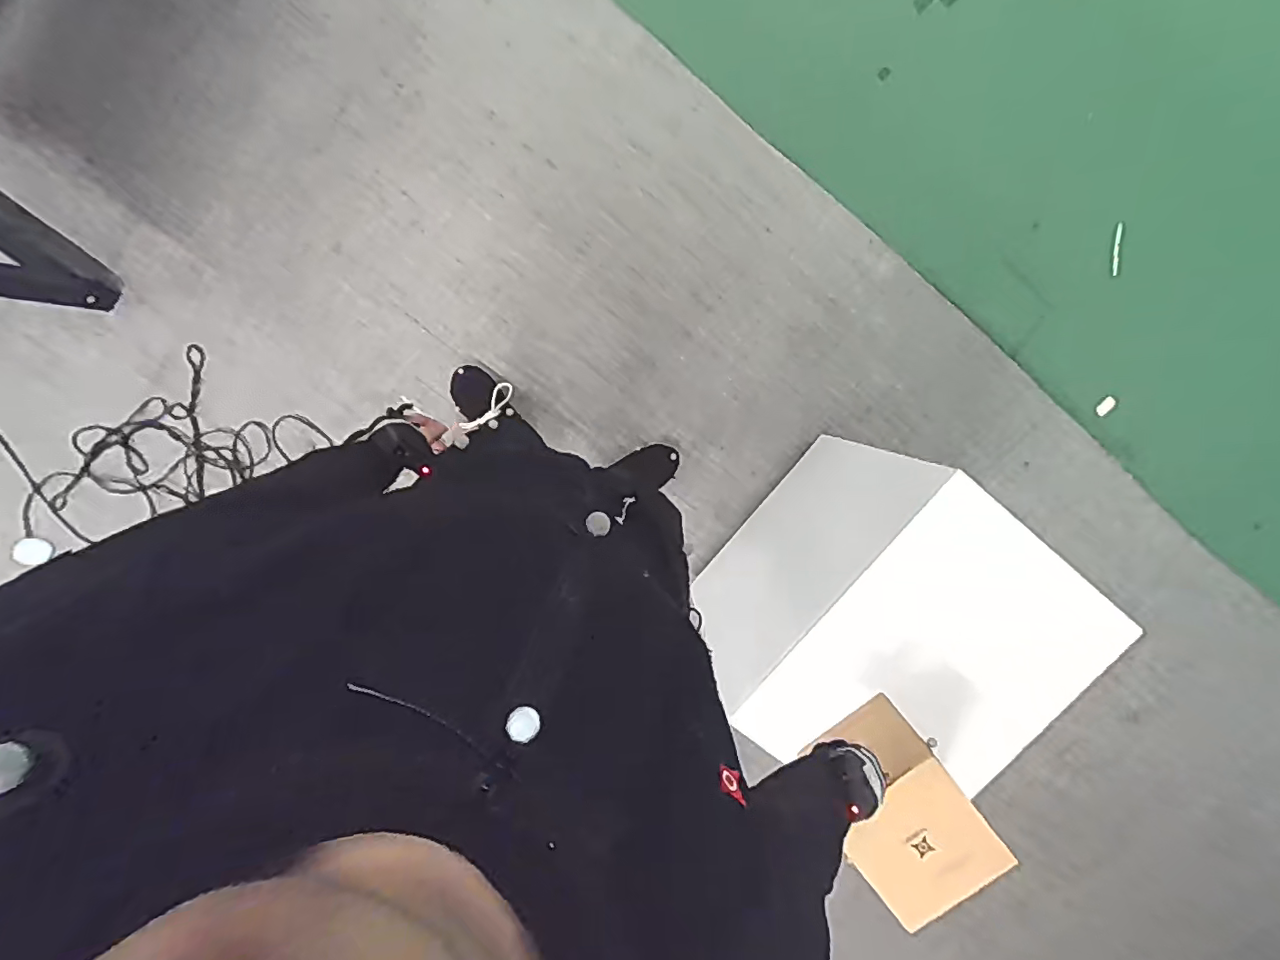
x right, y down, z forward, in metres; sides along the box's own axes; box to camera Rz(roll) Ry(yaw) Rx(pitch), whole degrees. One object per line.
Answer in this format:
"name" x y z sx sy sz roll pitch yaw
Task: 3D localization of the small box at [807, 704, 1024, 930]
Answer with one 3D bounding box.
"small box" 0.359 0.440 0.744 0.168 0.176 0.179 -40 91 6
